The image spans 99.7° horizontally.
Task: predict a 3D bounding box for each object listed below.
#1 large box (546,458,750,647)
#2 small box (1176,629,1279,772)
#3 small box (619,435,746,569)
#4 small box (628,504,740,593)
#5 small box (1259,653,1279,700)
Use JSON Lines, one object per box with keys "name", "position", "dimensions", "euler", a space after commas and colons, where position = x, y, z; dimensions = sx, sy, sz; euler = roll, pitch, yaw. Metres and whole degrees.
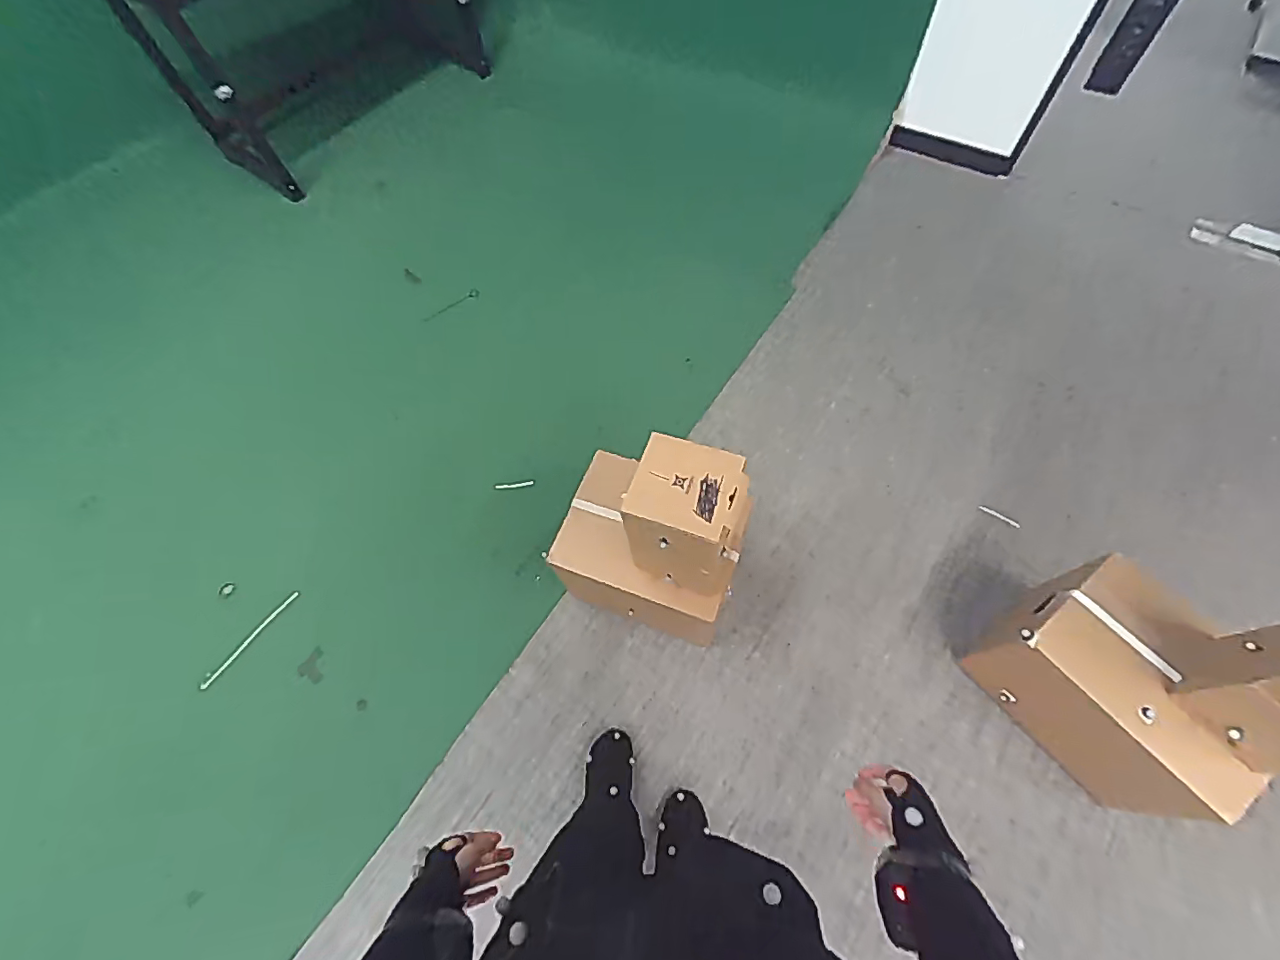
{"name": "large box", "position": [0.036, 0.191, 1.373], "dimensions": [0.408, 0.320, 0.320], "euler": [17, 65, 14]}
{"name": "small box", "position": [1.100, 0.374, 0.928], "dimensions": [0.179, 0.176, 0.168], "euler": [-34, 65, -14]}
{"name": "small box", "position": [0.080, 0.047, 0.983], "dimensions": [0.179, 0.176, 0.168], "euler": [17, 66, 14]}
{"name": "small box", "position": [0.092, 0.120, 1.130], "dimensions": [0.179, 0.176, 0.168], "euler": [22, 67, 14]}
{"name": "small box", "position": [1.098, 0.305, 0.782], "dimensions": [0.168, 0.176, 0.179], "euler": [-32, 65, -14]}
